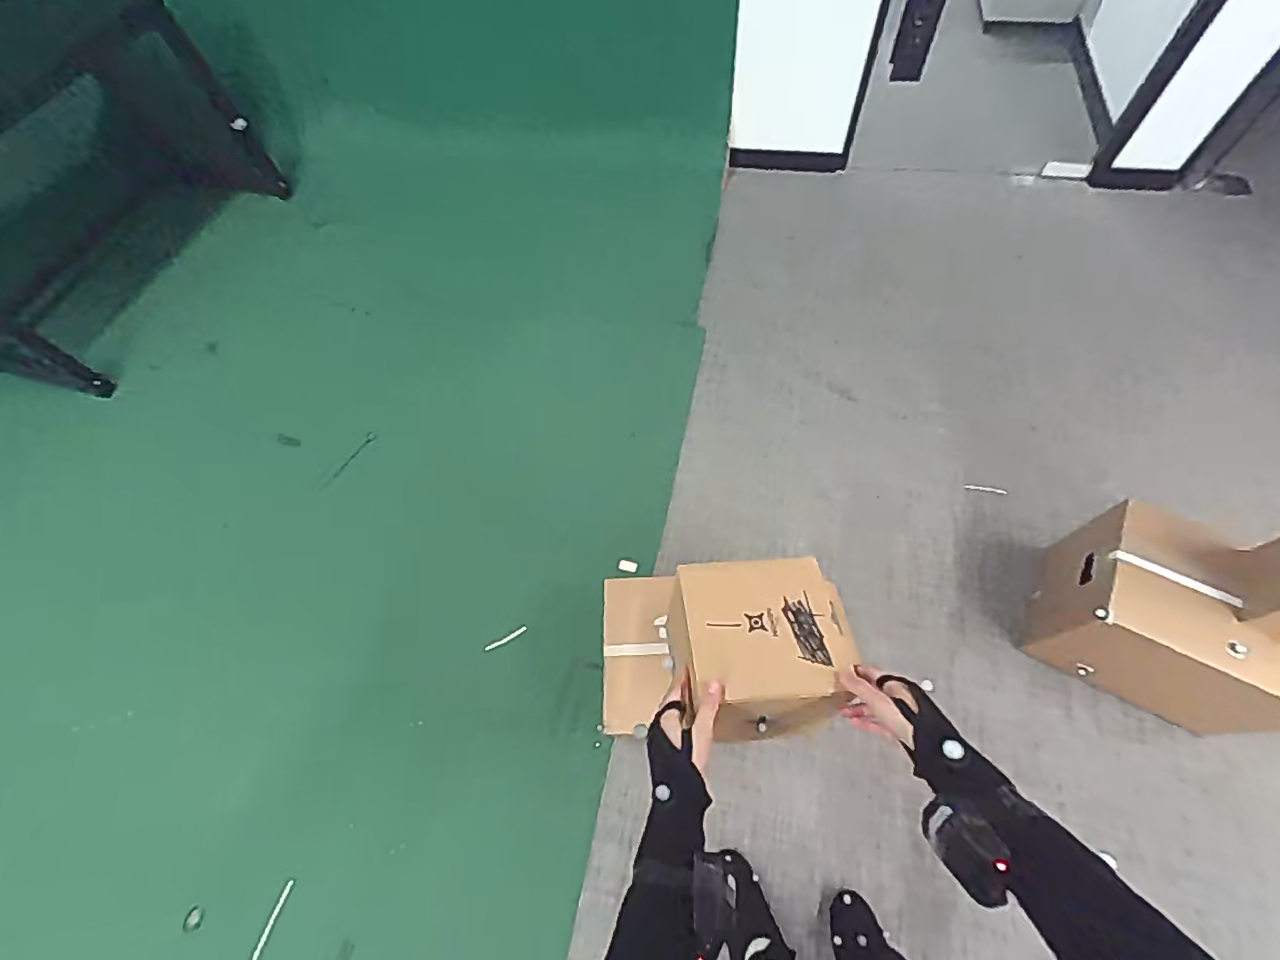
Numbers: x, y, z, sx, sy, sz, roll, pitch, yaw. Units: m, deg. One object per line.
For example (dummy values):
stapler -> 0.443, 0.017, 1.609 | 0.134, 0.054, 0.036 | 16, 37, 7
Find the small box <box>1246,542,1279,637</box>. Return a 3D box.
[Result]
small box -> 1.262, 0.201, 0.971 | 0.168, 0.176, 0.179 | 27, 66, 18

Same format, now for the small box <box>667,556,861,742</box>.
small box -> 0.134, 0.209, 0.663 | 0.179, 0.176, 0.168 | -2, 50, -5

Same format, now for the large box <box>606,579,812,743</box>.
large box -> 0.143, 0.416, 1.228 | 0.408, 0.320, 0.320 | -4, 61, 4
